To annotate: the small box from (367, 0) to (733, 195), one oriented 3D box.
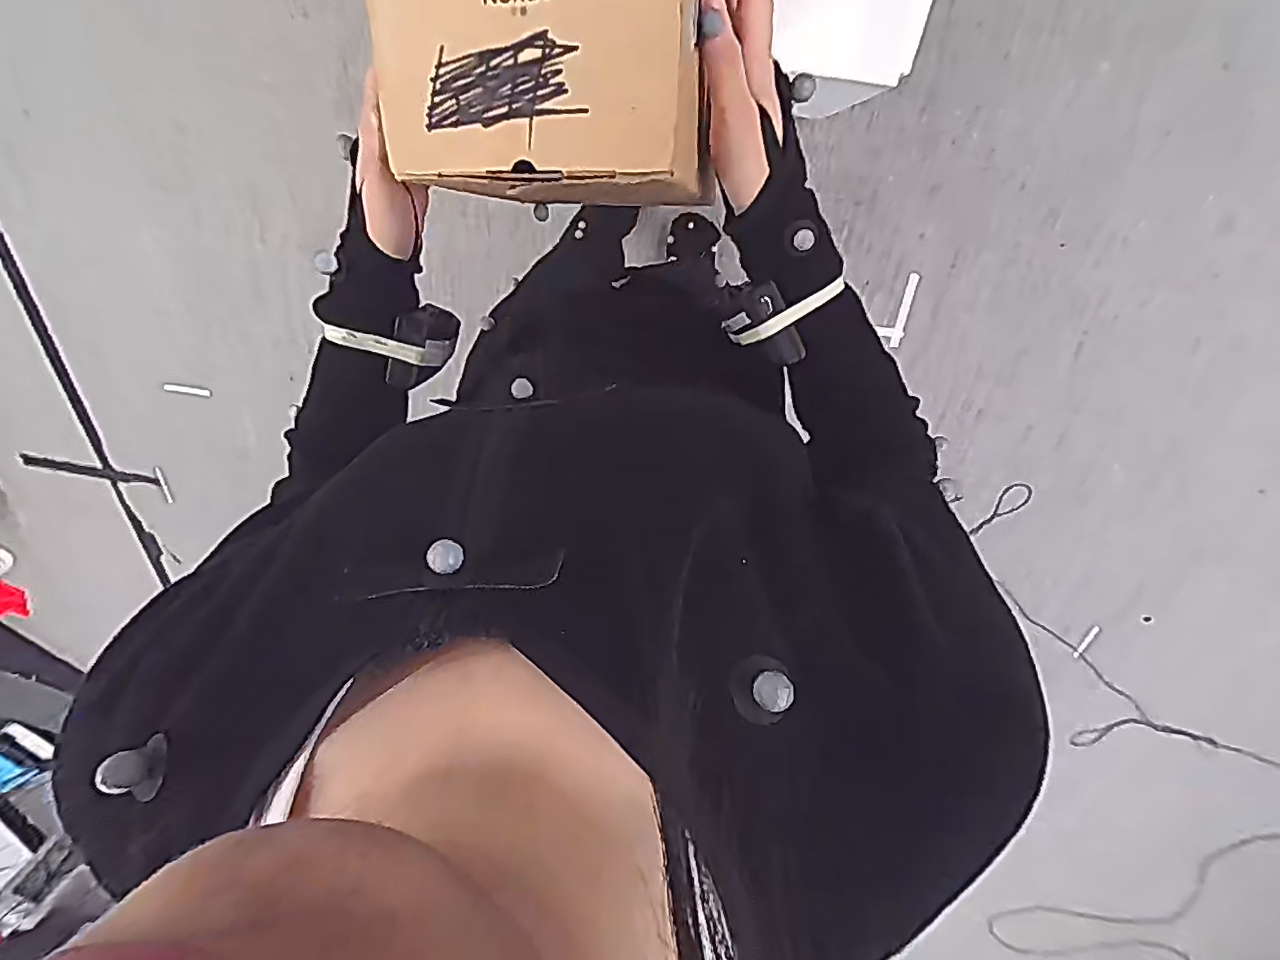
[{"bbox_3d":[-0.037,-0.274,0.319,0.168,0.176,0.179,8,113,12],"label":"small box"}]
